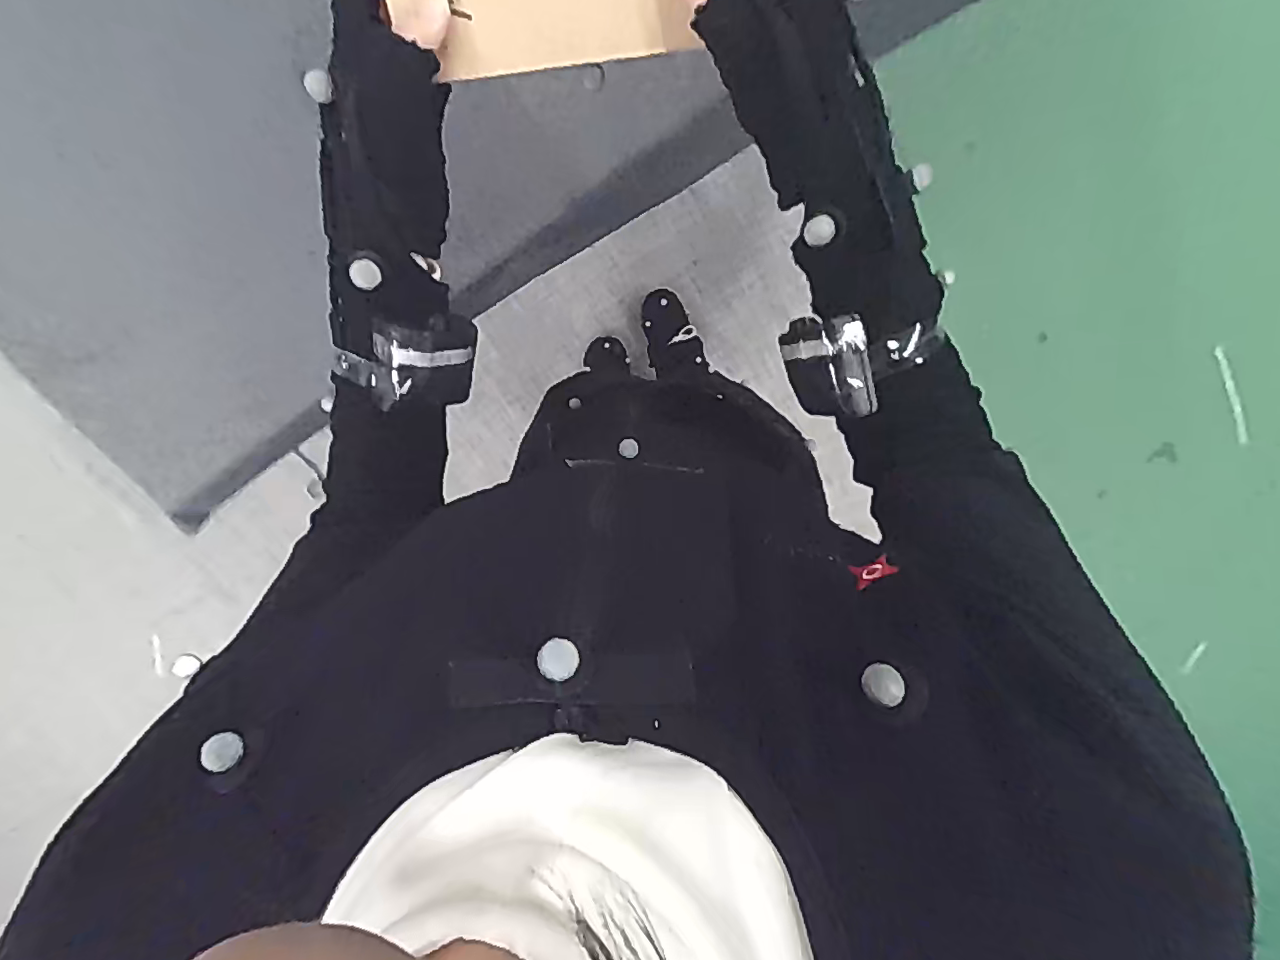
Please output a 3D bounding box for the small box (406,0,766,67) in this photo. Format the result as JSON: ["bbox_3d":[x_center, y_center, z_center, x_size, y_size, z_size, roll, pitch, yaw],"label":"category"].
[{"bbox_3d":[-0.033,-0.330,0.283,0.179,0.176,0.168,-4,129,2],"label":"small box"}]
